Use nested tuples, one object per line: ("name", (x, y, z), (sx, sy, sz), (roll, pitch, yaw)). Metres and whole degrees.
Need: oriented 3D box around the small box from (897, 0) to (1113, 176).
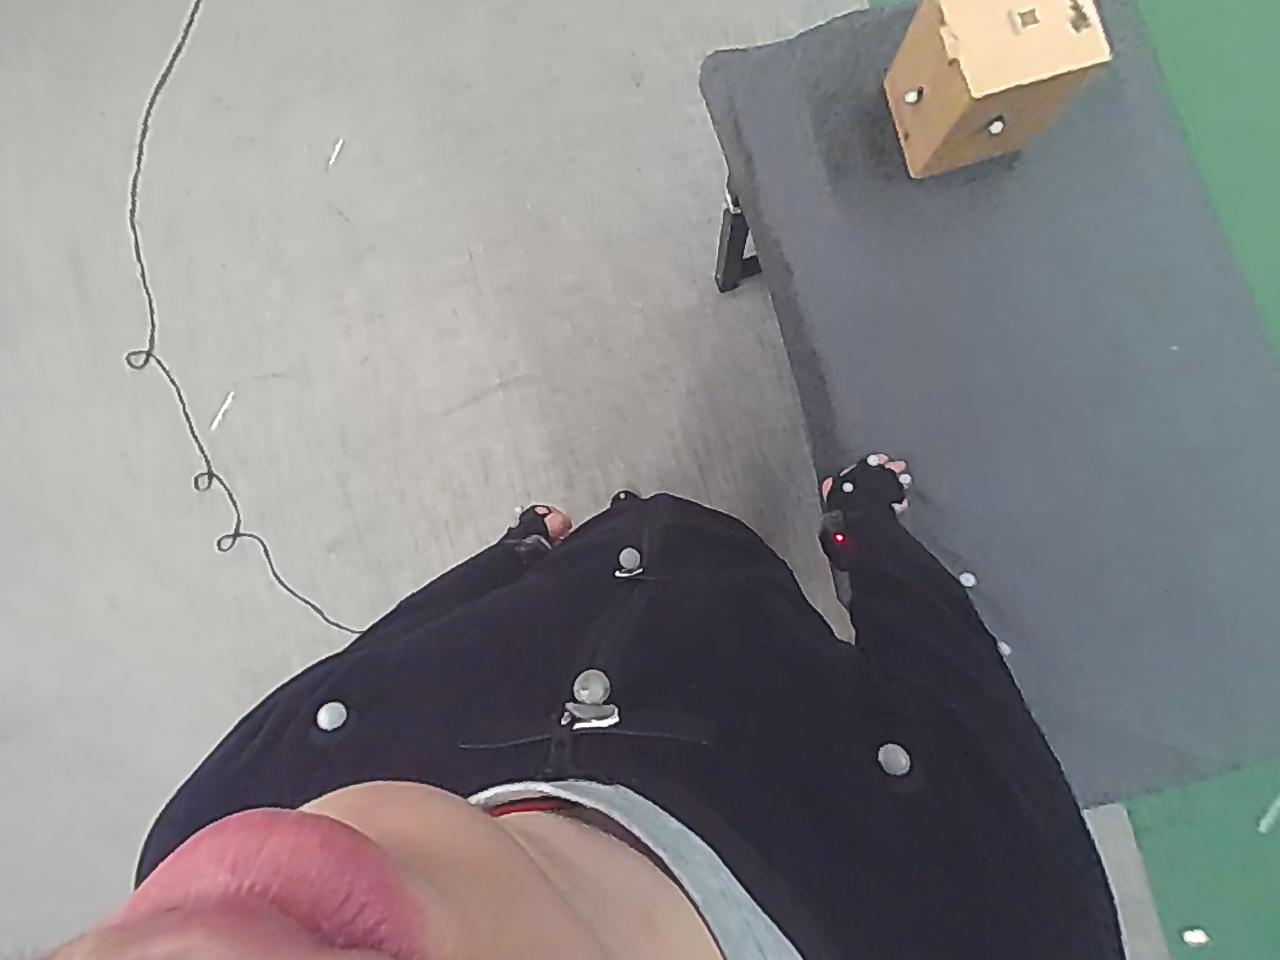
("small box", (0.480, -0.559, 0.747), (0.179, 0.176, 0.168), (-14, 86, 4))
